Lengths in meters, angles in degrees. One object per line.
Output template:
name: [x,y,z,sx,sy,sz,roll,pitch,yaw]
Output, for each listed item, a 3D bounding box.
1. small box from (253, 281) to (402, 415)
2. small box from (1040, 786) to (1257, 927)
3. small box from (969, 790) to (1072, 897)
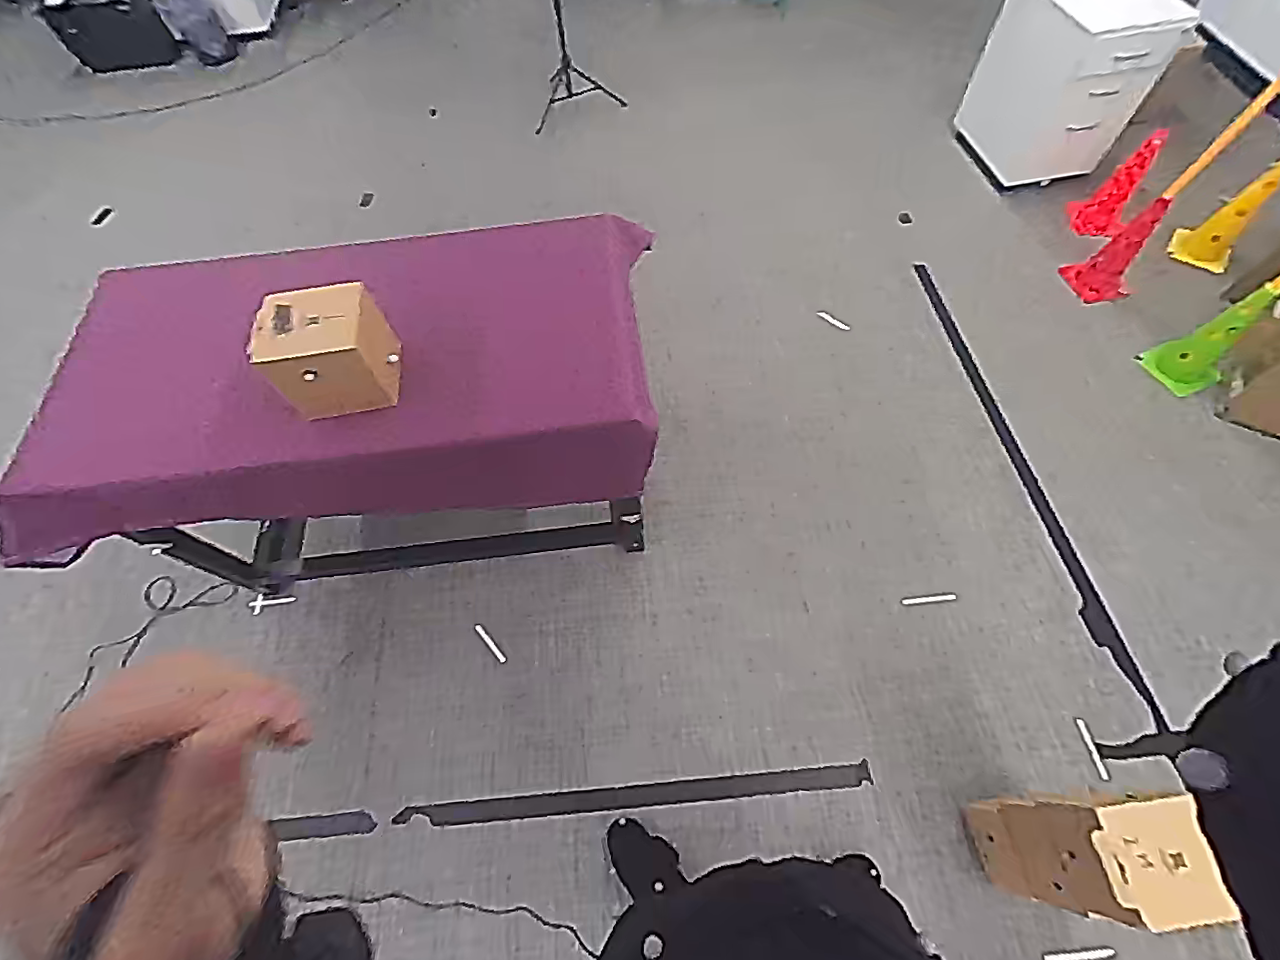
small box: [-0.575,-0.240,1.016,0.179,0.176,0.168,-10,62,-3]
small box: [0.847,0.631,0.925,0.179,0.176,0.168,-7,63,0]
small box: [0.874,0.802,1.207,0.179,0.176,0.168,-10,62,-2]
